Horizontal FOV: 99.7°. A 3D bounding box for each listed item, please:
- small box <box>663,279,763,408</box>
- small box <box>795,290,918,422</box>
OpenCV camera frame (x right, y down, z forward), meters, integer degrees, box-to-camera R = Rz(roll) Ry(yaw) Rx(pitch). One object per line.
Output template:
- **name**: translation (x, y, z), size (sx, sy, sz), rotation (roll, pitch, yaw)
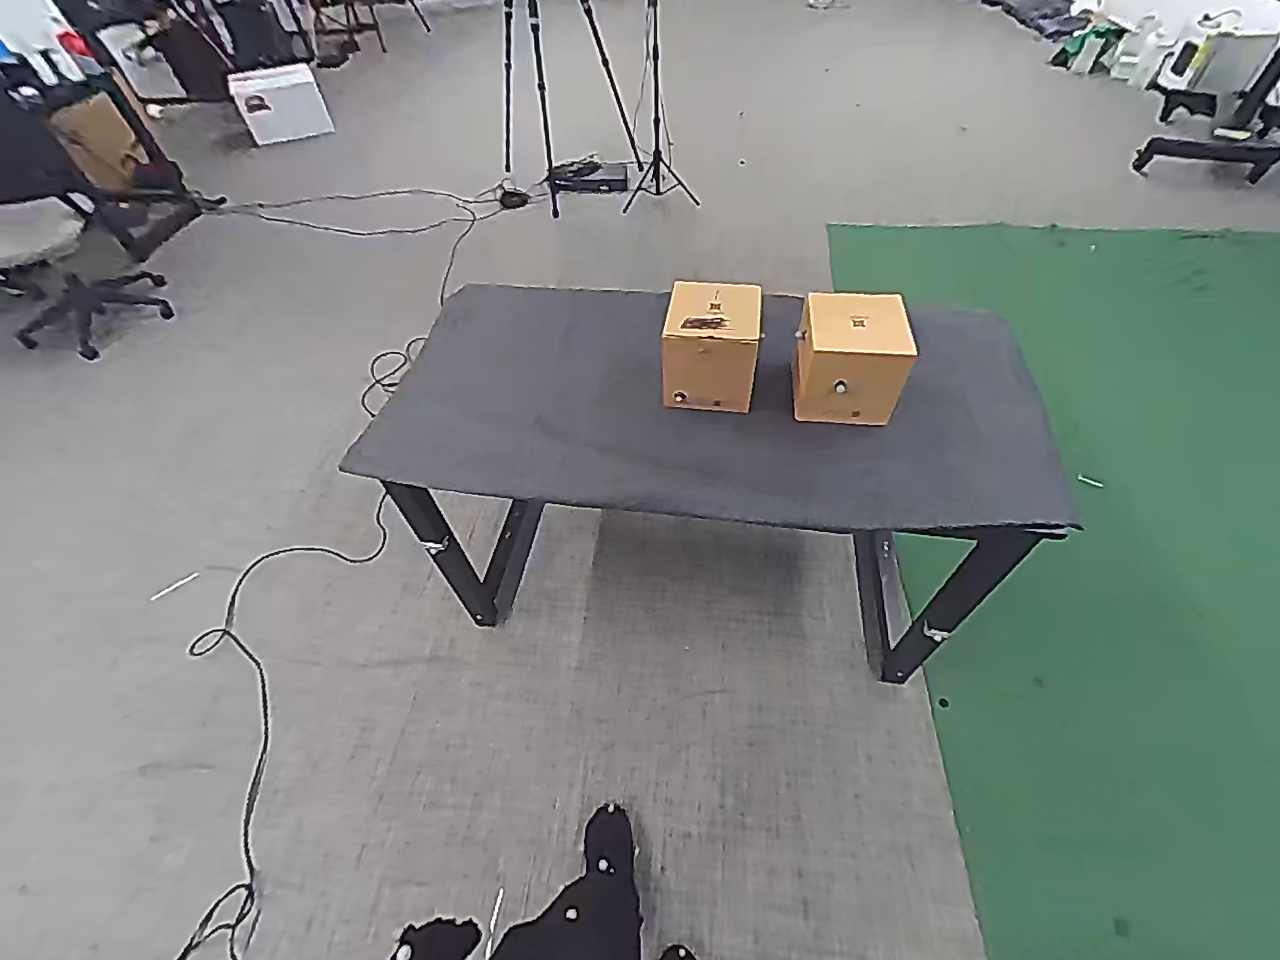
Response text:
- **small box**: translation (0.138, -0.255, 1.024), size (0.168, 0.176, 0.179), rotation (6, 51, 8)
- **small box**: translation (0.381, -0.223, 0.985), size (0.168, 0.176, 0.179), rotation (4, 51, 7)
